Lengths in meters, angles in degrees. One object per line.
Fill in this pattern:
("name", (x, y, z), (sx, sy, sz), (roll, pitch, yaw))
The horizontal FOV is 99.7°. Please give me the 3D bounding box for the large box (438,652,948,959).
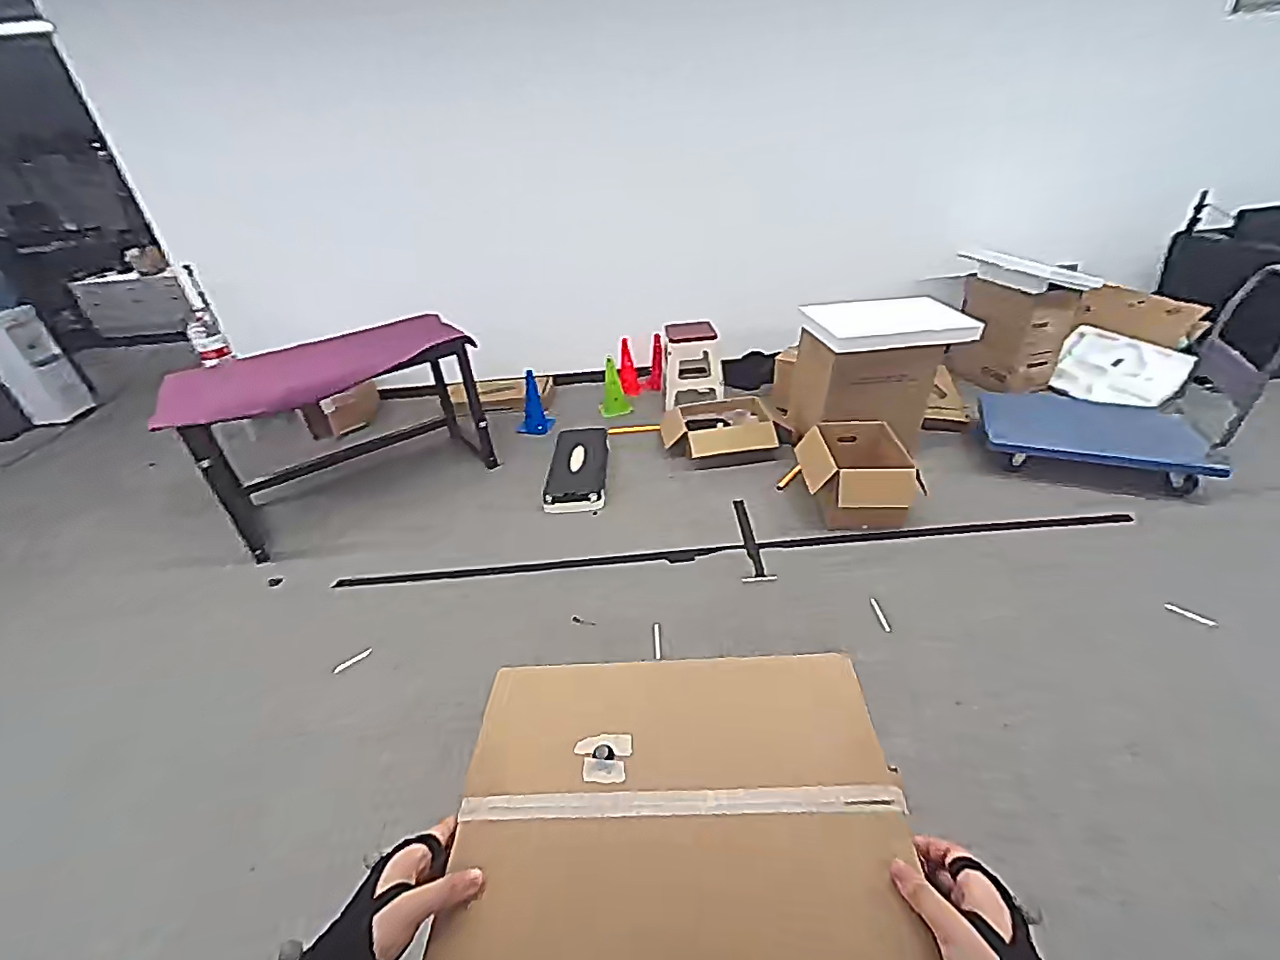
("large box", (0.056, 0.424, 0.598), (0.408, 0.320, 0.320), (-5, 35, 6))
